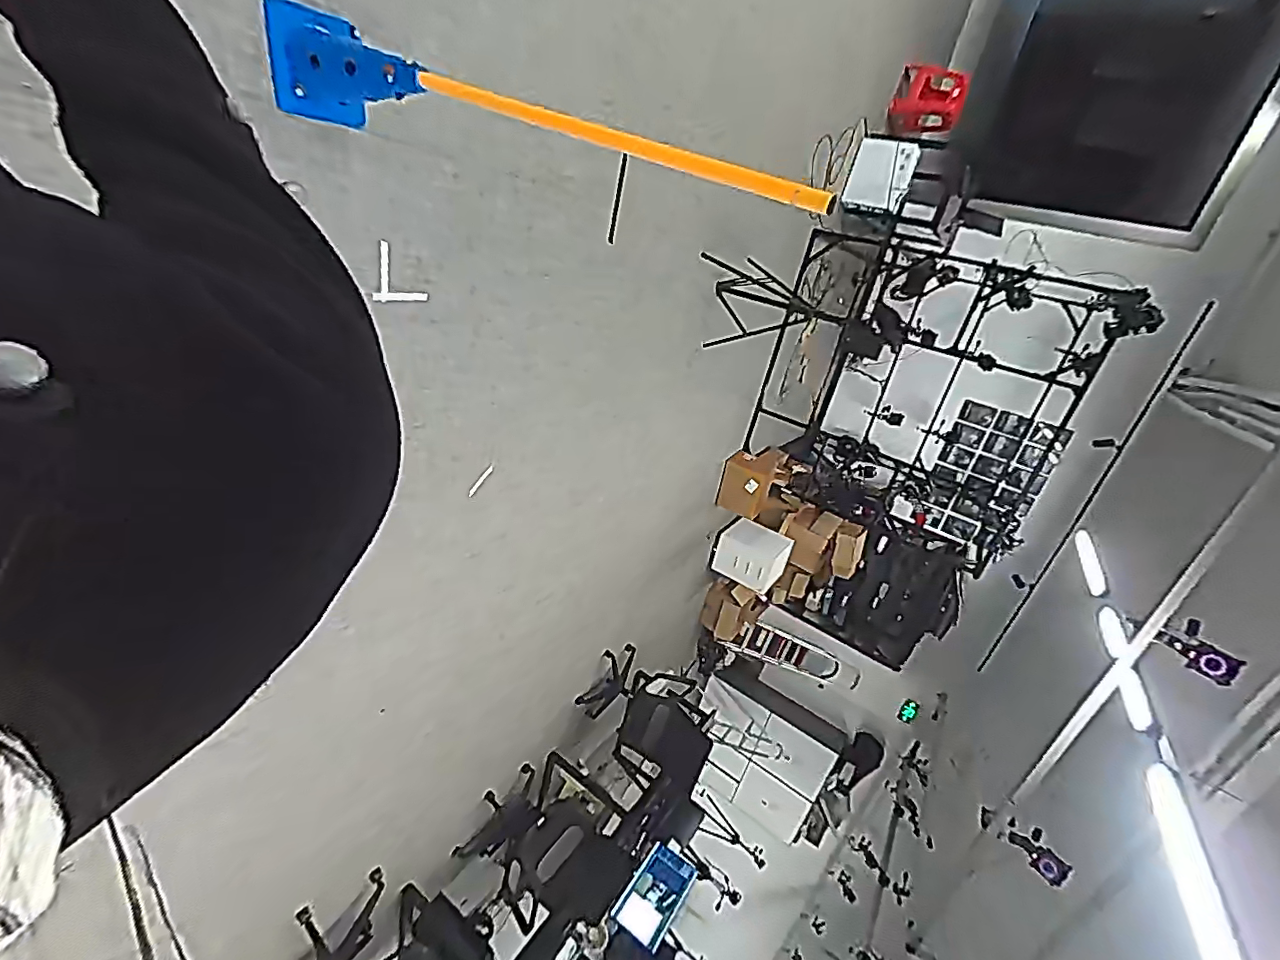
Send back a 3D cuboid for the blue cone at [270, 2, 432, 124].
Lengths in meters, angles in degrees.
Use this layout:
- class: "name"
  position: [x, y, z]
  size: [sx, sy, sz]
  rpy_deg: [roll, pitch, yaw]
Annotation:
- class: "blue cone"
  position: [-0.559, -0.836, 1.106]
  size: [0.193, 0.380, 0.192]
  rpy_deg: [-28, 135, -52]
